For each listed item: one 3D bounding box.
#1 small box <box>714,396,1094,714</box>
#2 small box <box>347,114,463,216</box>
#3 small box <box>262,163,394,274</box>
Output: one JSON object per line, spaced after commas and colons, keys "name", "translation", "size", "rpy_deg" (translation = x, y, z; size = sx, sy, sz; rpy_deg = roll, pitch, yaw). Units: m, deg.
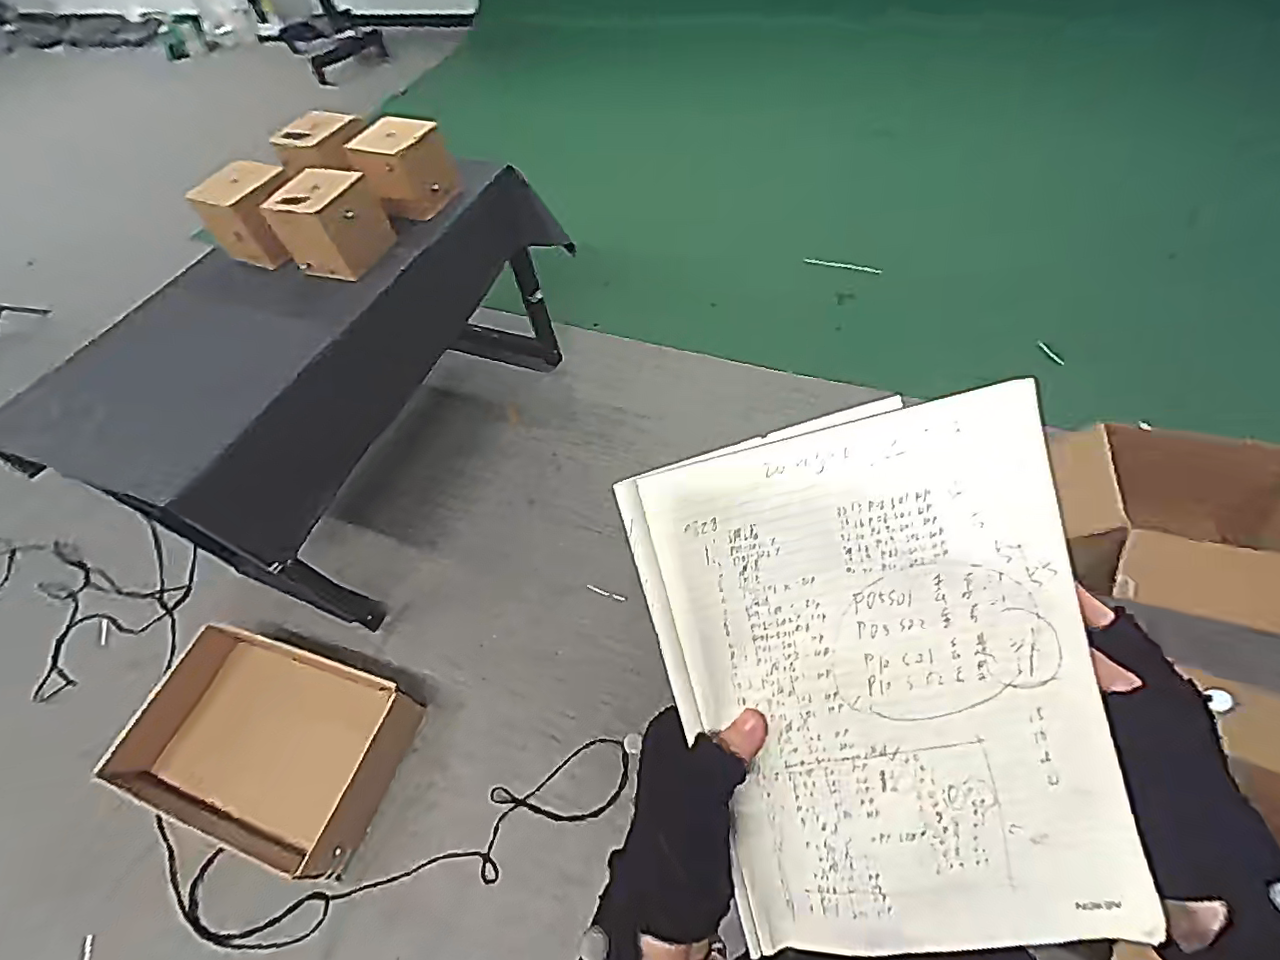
{"name": "small box", "translation": [0.152, 0.058, 0.381], "size": [0.179, 0.176, 0.168], "rpy_deg": [-8, 77, 8]}
{"name": "small box", "translation": [-0.594, -0.806, 1.388], "size": [0.179, 0.176, 0.168], "rpy_deg": [20, 61, 19]}
{"name": "small box", "translation": [-0.717, -0.610, 1.266], "size": [0.168, 0.176, 0.179], "rpy_deg": [14, 58, 16]}
